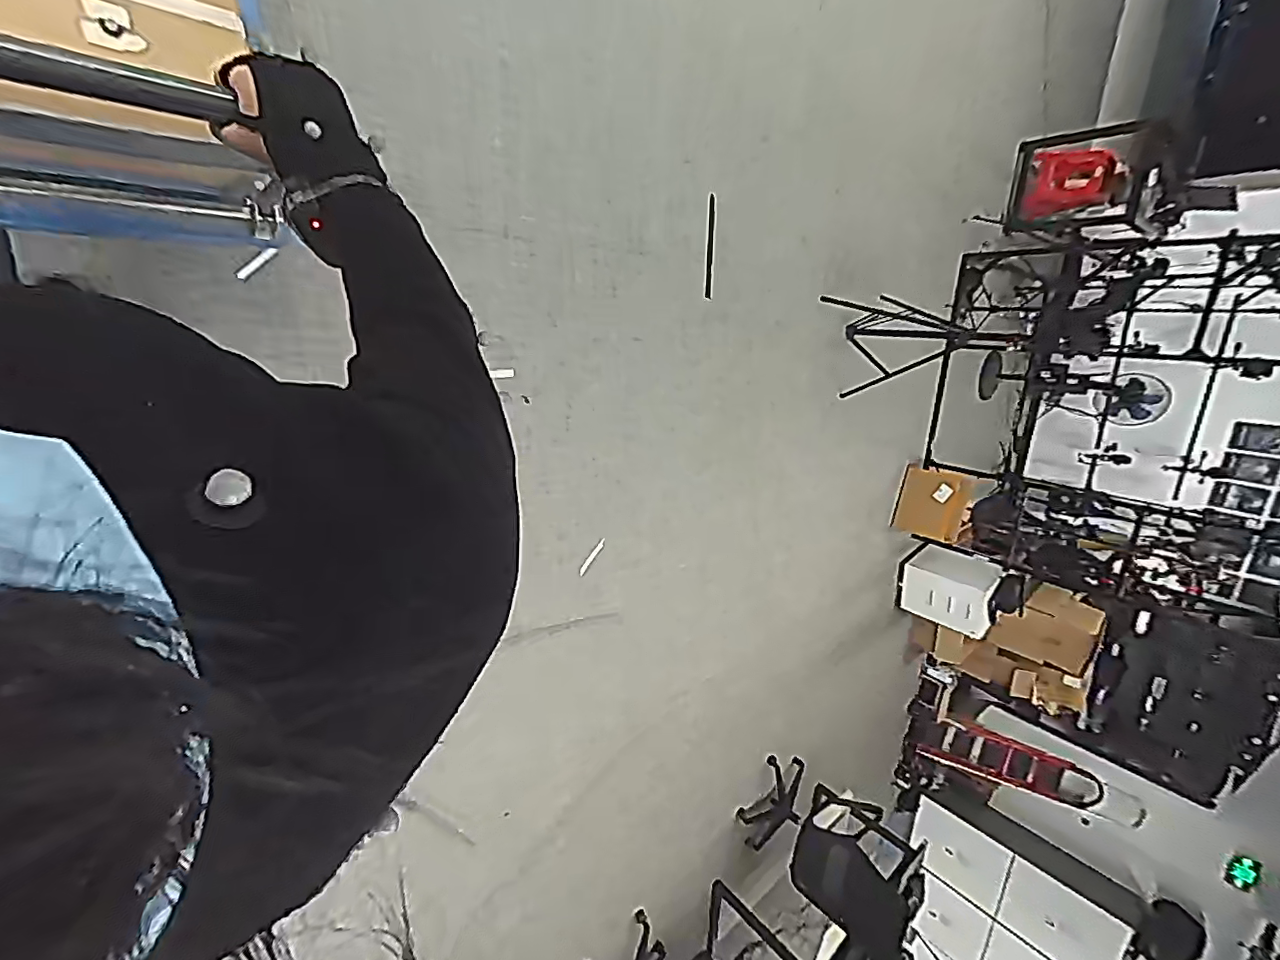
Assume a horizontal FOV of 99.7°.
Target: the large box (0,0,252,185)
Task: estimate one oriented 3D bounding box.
[{"bbox_3d":[-0.798,-0.608,0.705,0.408,0.320,0.320,-13,113,-41],"label":"large box"}]
